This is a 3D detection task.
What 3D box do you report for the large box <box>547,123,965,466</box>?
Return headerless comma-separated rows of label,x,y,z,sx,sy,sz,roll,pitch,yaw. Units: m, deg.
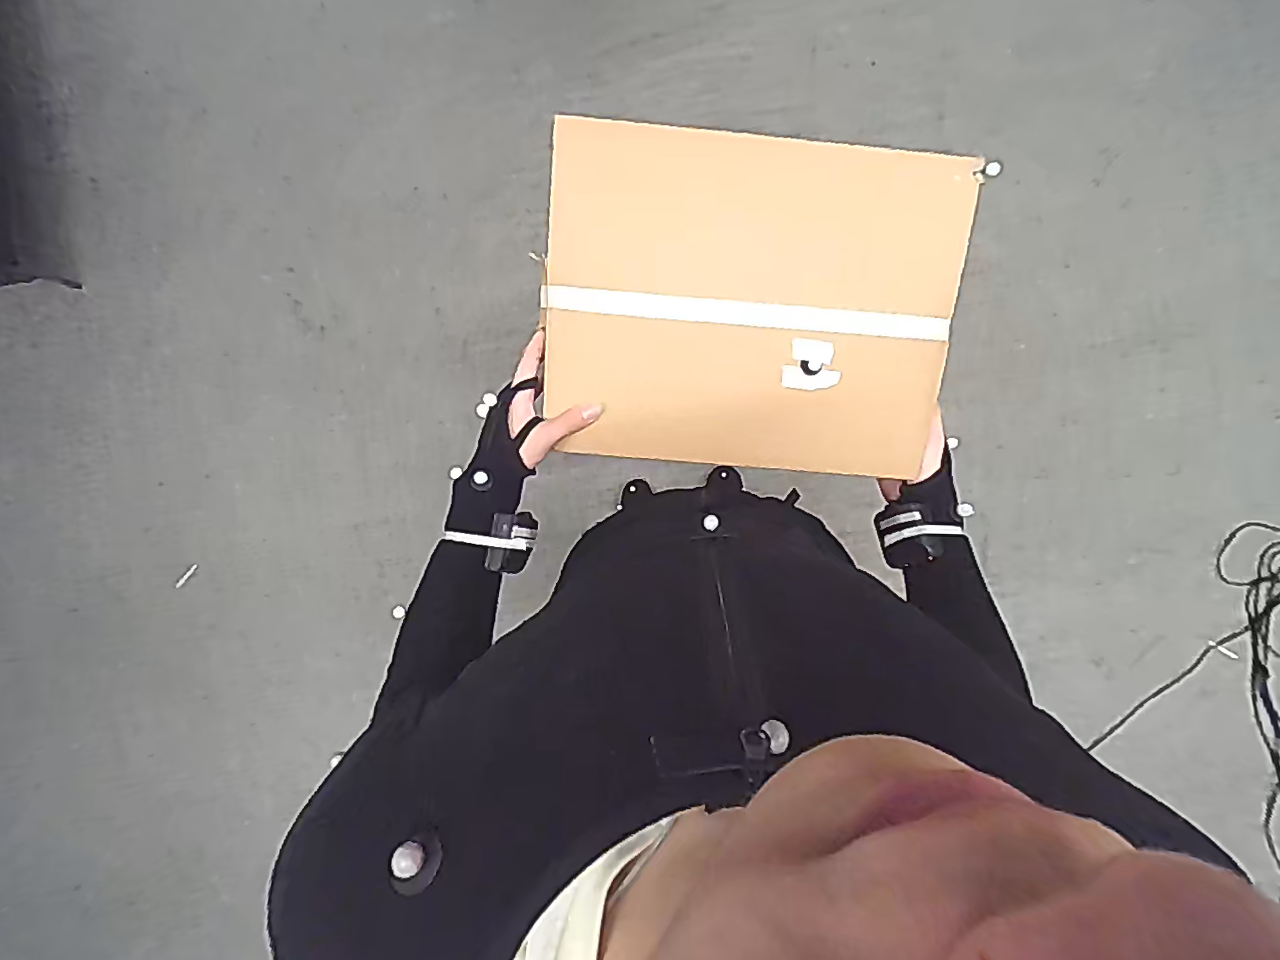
large box,0.101,-0.208,0.690,0.408,0.320,0.320,4,105,-3
